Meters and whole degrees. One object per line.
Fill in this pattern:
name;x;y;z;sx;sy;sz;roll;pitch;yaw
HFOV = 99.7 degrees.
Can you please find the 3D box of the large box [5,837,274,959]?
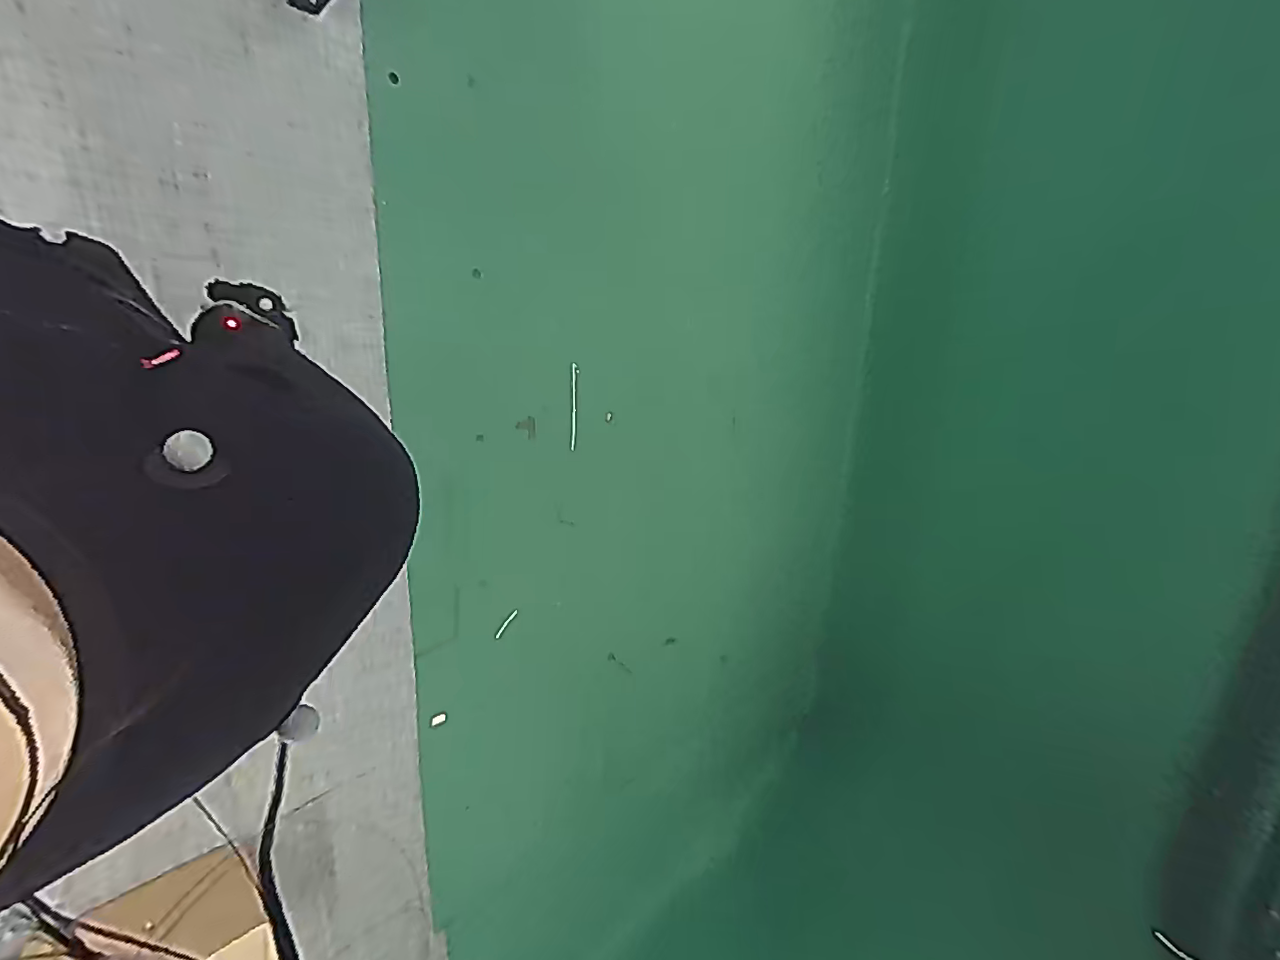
large box;-1.123;1.152;1.244;0.408;0.320;0.320;-13;111;-48
